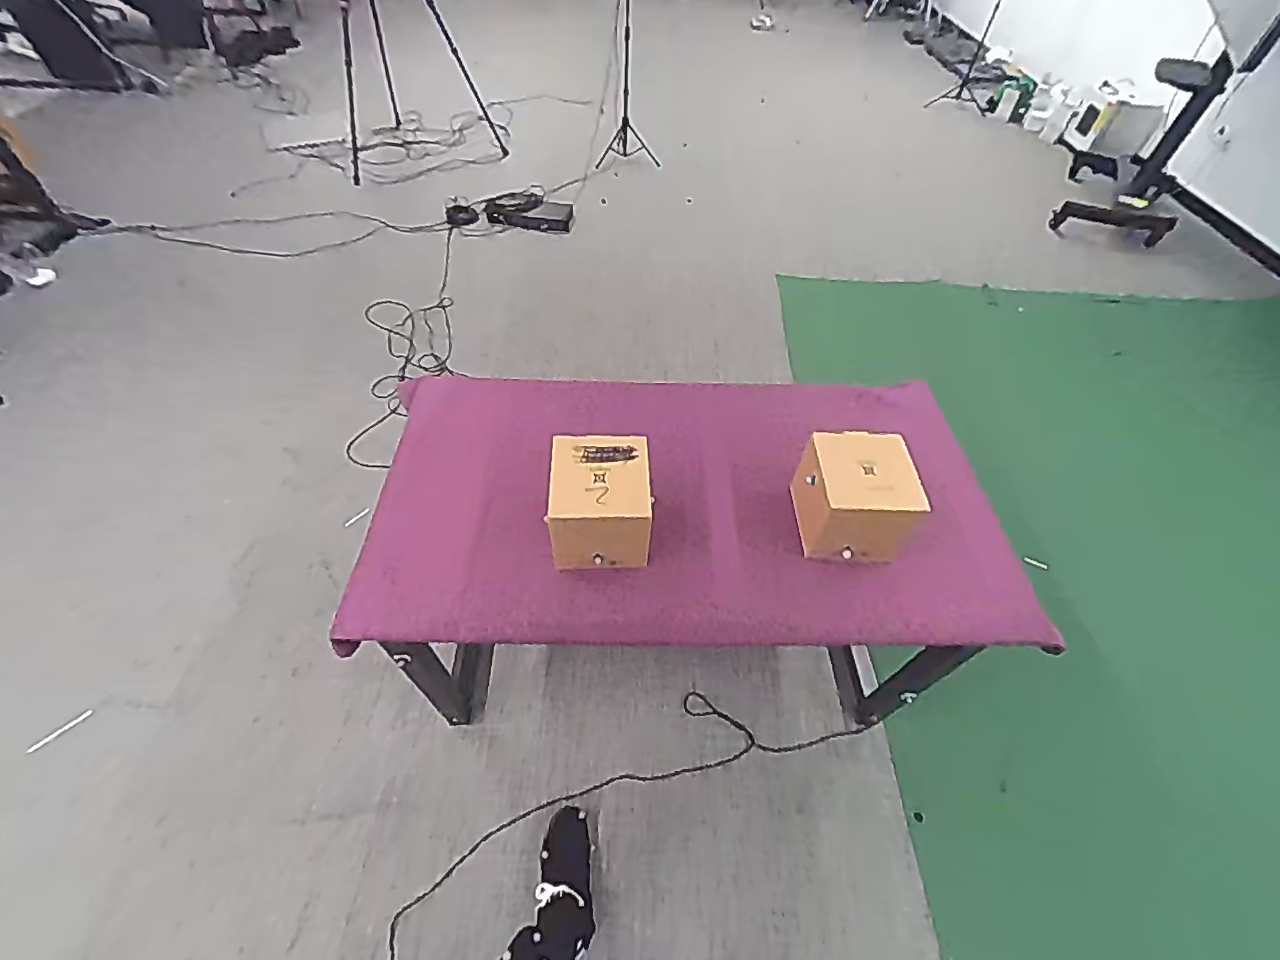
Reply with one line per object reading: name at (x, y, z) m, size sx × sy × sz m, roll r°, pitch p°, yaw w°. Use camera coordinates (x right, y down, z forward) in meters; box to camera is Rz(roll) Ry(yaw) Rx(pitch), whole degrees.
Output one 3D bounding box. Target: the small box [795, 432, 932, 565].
small box at (0.392, 0.034, 0.985) m, size 0.168 × 0.176 × 0.179 m, roll 2°, pitch 51°, yaw 1°
